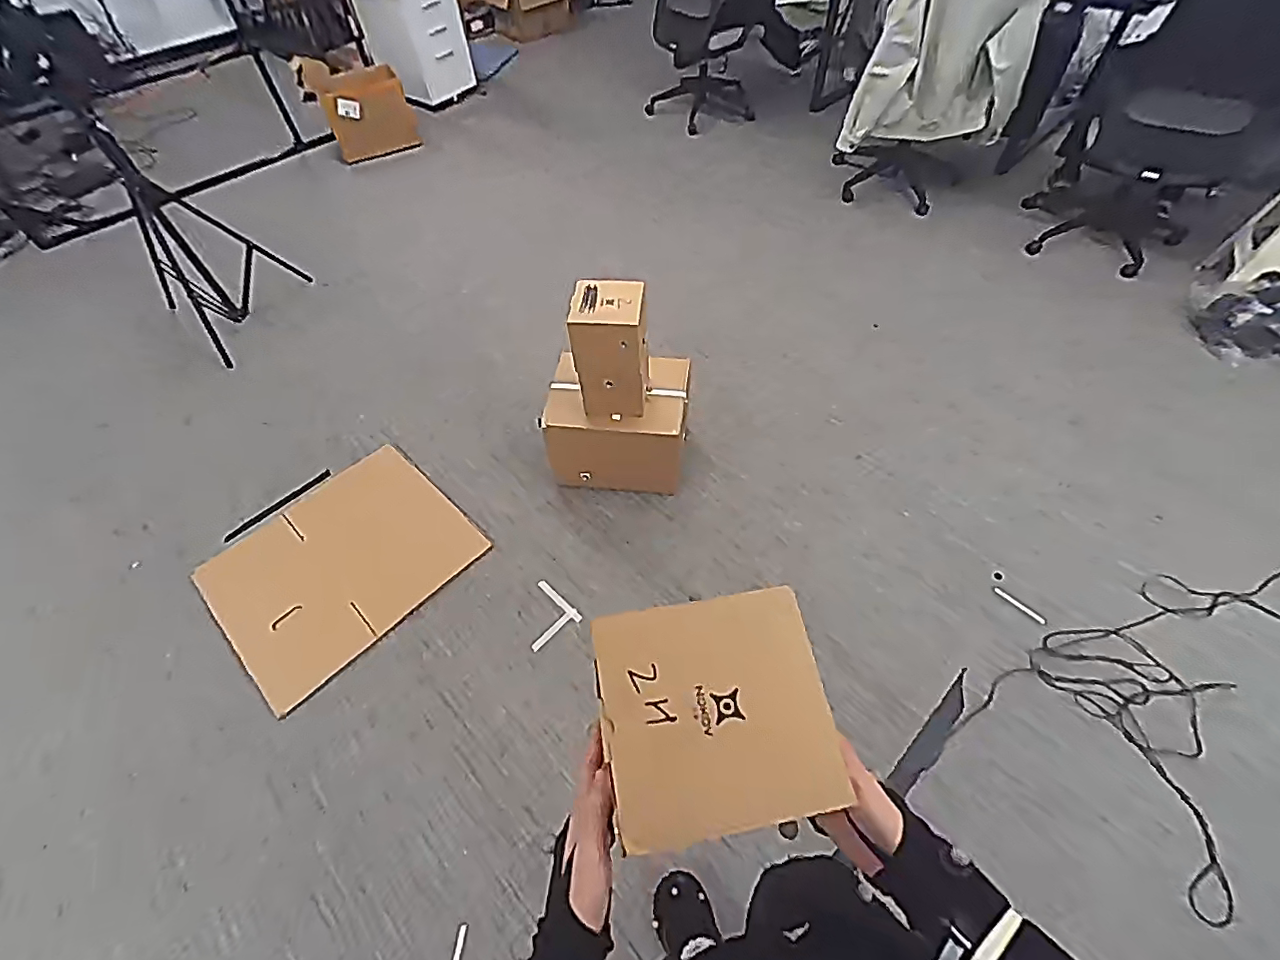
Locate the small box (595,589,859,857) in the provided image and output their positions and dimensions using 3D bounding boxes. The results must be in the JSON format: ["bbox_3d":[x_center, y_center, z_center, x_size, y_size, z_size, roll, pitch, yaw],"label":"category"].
[{"bbox_3d":[0.056,0.208,0.483,0.179,0.176,0.168,-8,65,-7],"label":"small box"}]

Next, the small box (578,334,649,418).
[{"bbox_3d":[-0.067,-0.292,1.531,0.179,0.176,0.168,3,56,4],"label":"small box"}]
